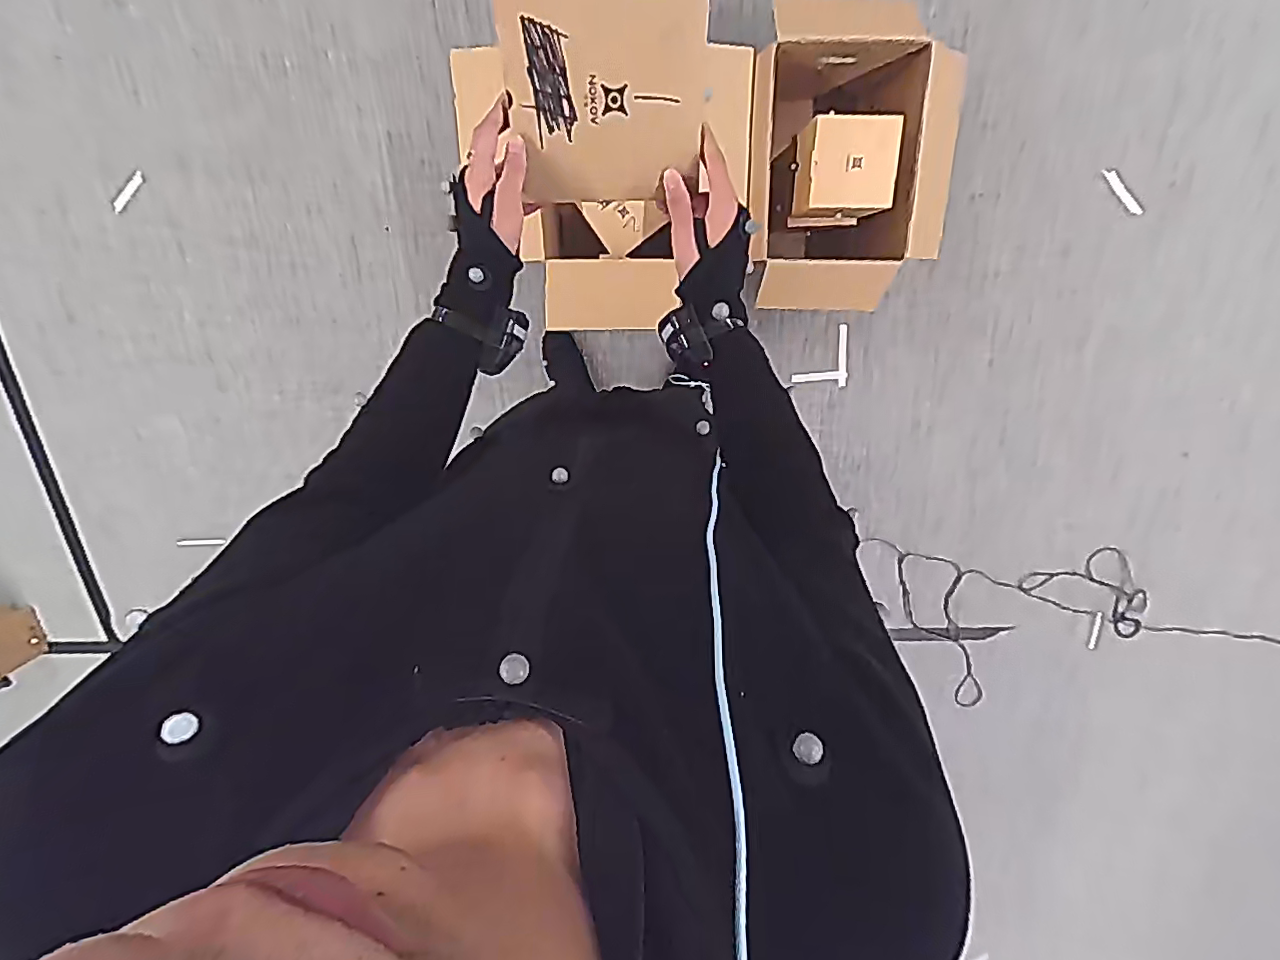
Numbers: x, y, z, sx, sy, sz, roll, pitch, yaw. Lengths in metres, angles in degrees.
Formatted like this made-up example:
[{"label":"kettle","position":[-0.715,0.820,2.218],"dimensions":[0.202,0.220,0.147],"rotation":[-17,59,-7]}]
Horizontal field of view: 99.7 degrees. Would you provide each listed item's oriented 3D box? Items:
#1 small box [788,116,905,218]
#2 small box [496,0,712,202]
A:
[{"label":"small box","position":[0.432,-0.662,1.157],"dimensions":[0.179,0.176,0.168],"rotation":[0,110,0]},{"label":"small box","position":[-0.026,-0.386,0.534],"dimensions":[0.179,0.176,0.168],"rotation":[1,131,1]}]
